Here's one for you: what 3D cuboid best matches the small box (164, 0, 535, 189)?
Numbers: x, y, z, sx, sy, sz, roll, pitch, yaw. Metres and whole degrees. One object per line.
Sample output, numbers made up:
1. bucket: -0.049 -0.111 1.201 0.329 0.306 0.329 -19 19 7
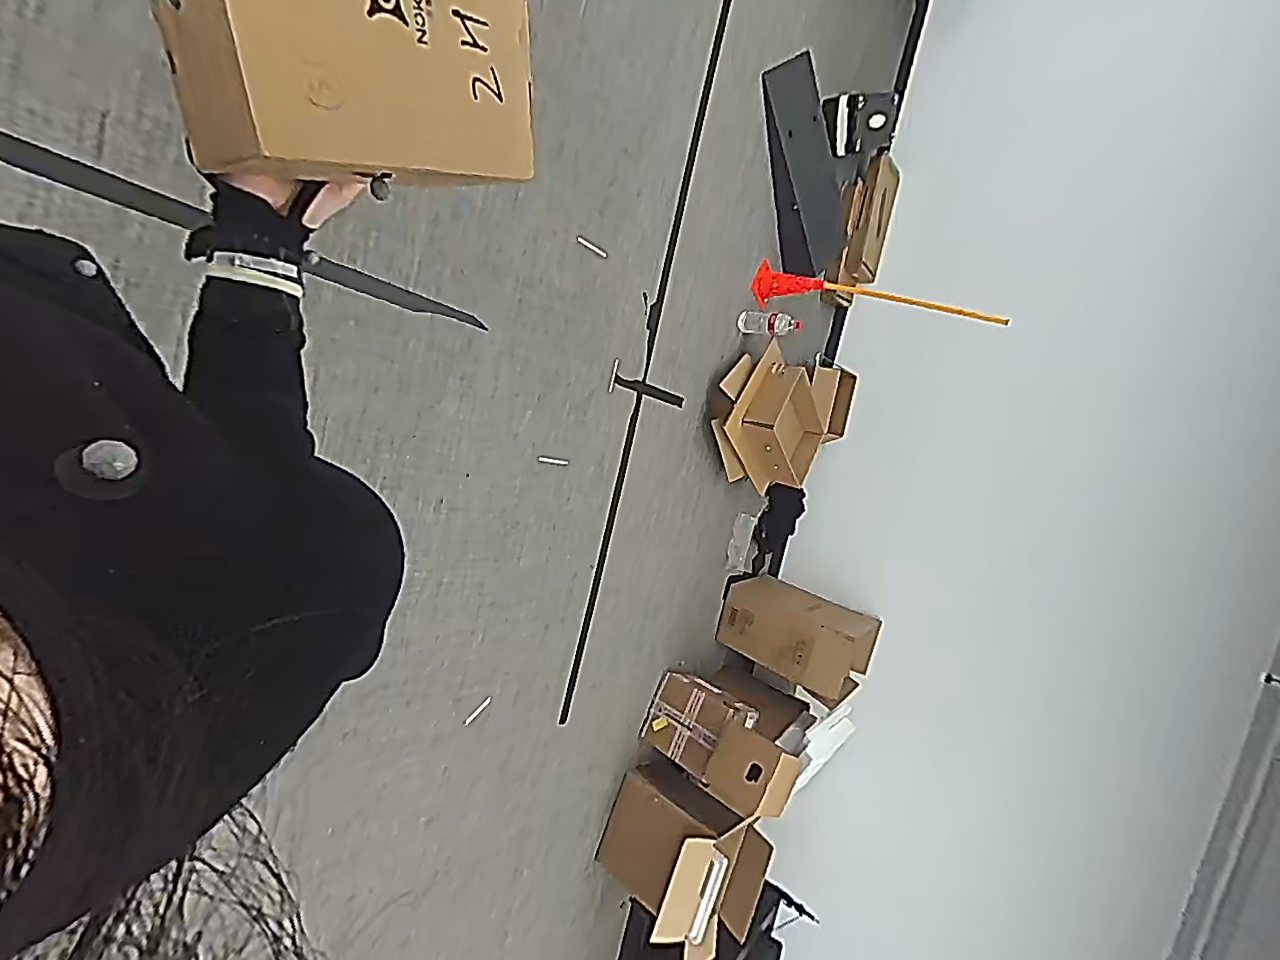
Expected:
1. small box: -0.193 -0.292 0.358 0.179 0.176 0.168 -23 125 -41
